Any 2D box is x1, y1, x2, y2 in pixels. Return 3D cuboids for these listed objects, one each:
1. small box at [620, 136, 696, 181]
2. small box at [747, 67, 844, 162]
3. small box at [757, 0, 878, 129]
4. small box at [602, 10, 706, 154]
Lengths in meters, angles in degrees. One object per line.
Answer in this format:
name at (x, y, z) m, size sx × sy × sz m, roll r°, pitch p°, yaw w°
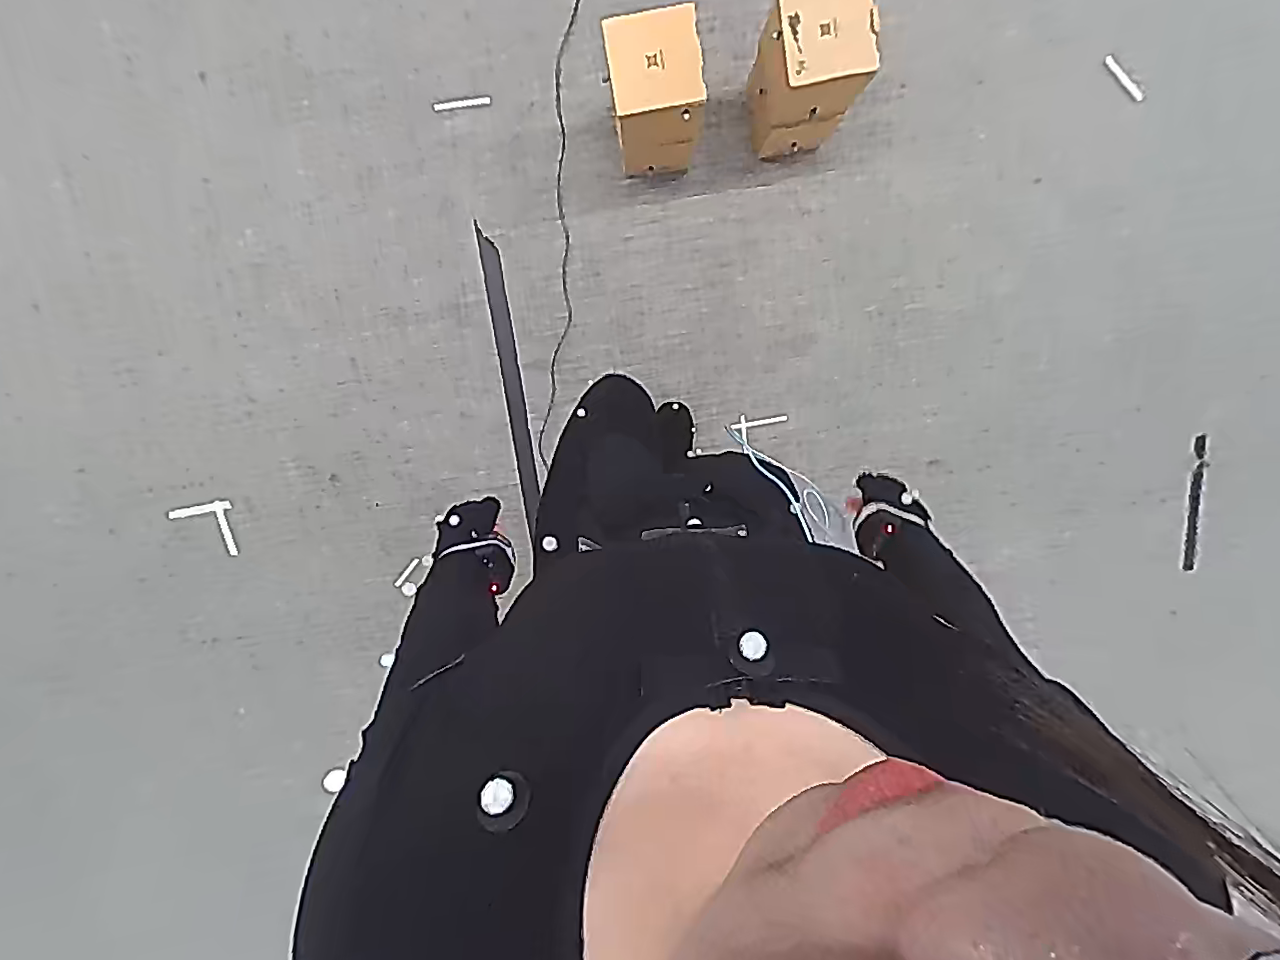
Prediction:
small box at (0.033, -0.820, 1.247) m, size 0.168 × 0.176 × 0.179 m, roll -6°, pitch 102°, yaw 1°
small box at (0.351, -0.867, 1.242) m, size 0.168 × 0.176 × 0.179 m, roll -10°, pitch 102°, yaw 1°
small box at (0.347, -0.836, 1.080) m, size 0.179 × 0.176 × 0.168 m, roll -10°, pitch 101°, yaw 0°
small box at (0.027, -0.787, 1.088) m, size 0.179 × 0.176 × 0.168 m, roll -10°, pitch 101°, yaw 1°
